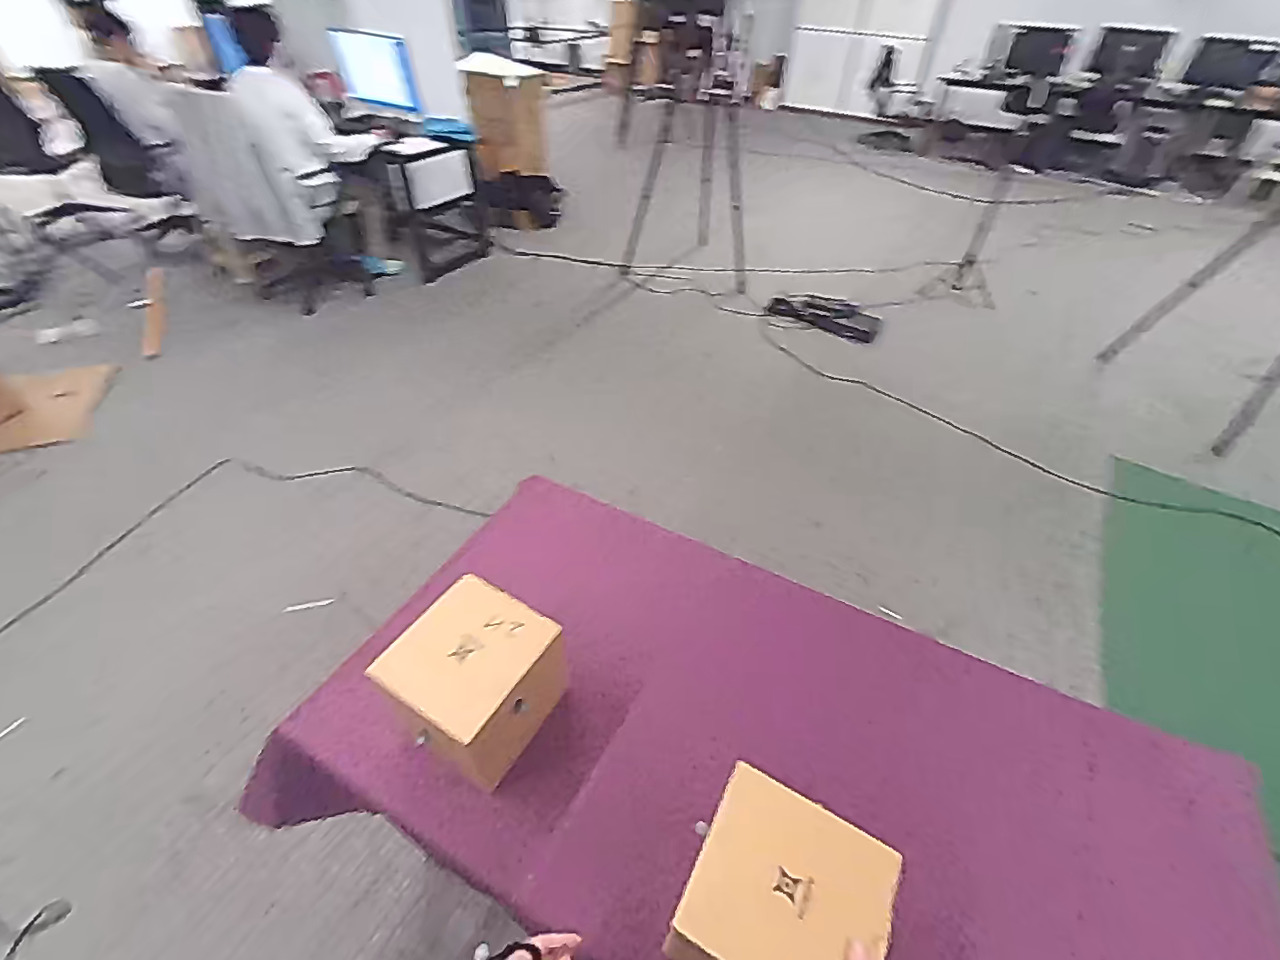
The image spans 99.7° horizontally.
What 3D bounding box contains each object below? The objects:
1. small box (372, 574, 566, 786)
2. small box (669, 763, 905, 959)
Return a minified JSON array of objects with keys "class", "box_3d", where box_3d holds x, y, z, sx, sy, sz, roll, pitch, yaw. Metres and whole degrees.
[{"class":"small box","box_3d":[-0.212,0.269,0.726,0.168,0.176,0.179,24,48,21]},{"class":"small box","box_3d":[0.142,0.442,0.560,0.179,0.176,0.168,23,47,20]}]
